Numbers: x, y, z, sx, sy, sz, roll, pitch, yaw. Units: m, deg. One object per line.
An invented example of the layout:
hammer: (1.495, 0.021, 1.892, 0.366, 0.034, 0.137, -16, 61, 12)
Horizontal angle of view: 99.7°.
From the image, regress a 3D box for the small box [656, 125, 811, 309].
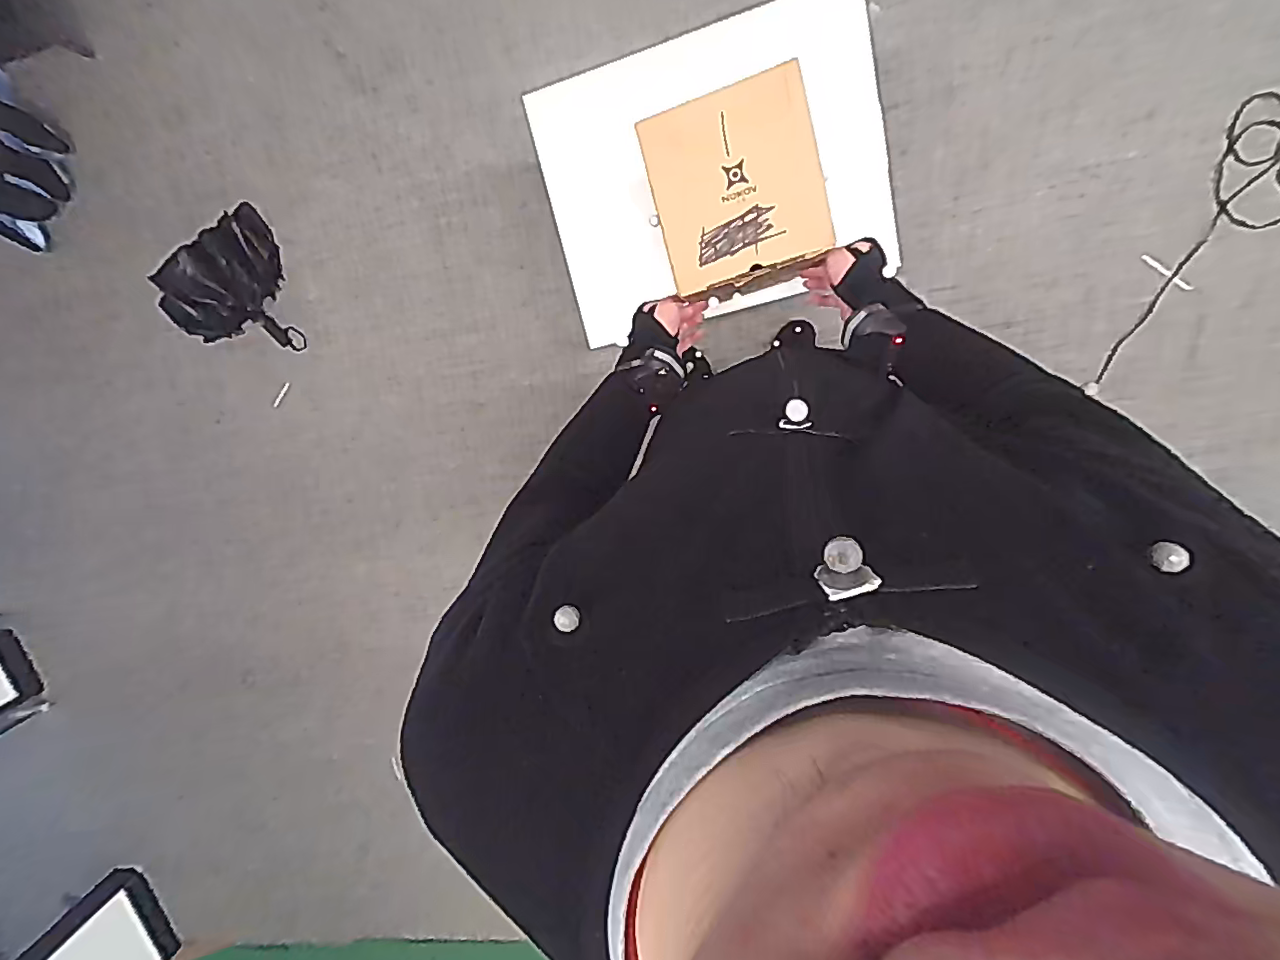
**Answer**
small box: (0.132, -0.357, 0.775, 0.168, 0.176, 0.179, -16, 102, 13)
